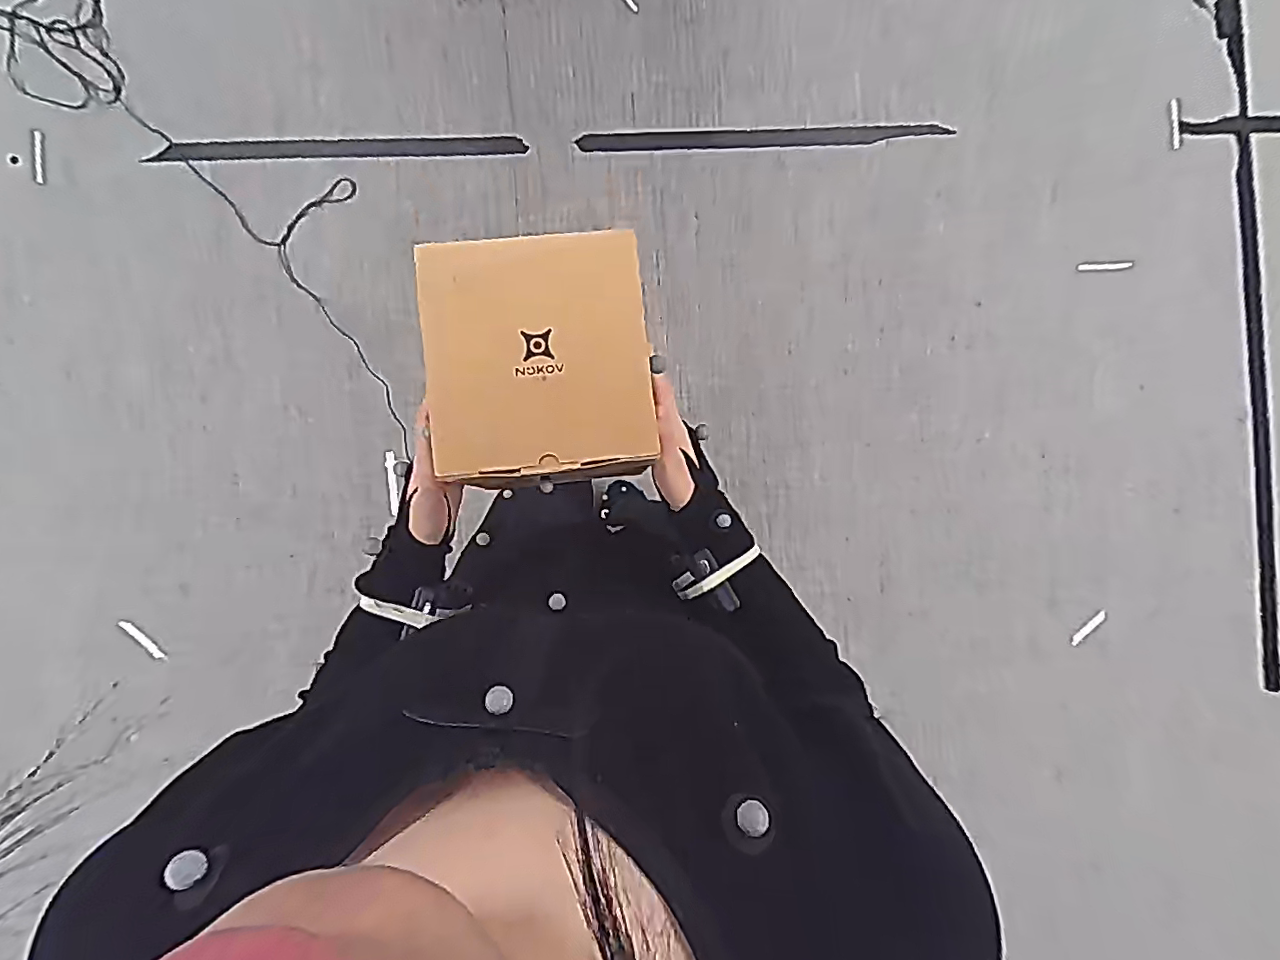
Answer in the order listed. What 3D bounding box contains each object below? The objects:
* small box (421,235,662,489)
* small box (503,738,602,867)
[{"bbox_3d":[-0.080,-0.090,0.481,0.168,0.176,0.179,-7,88,-5],"label":"small box"},{"bbox_3d":[-0.170,0.645,1.101,0.179,0.176,0.168,-4,88,-1],"label":"small box"}]
